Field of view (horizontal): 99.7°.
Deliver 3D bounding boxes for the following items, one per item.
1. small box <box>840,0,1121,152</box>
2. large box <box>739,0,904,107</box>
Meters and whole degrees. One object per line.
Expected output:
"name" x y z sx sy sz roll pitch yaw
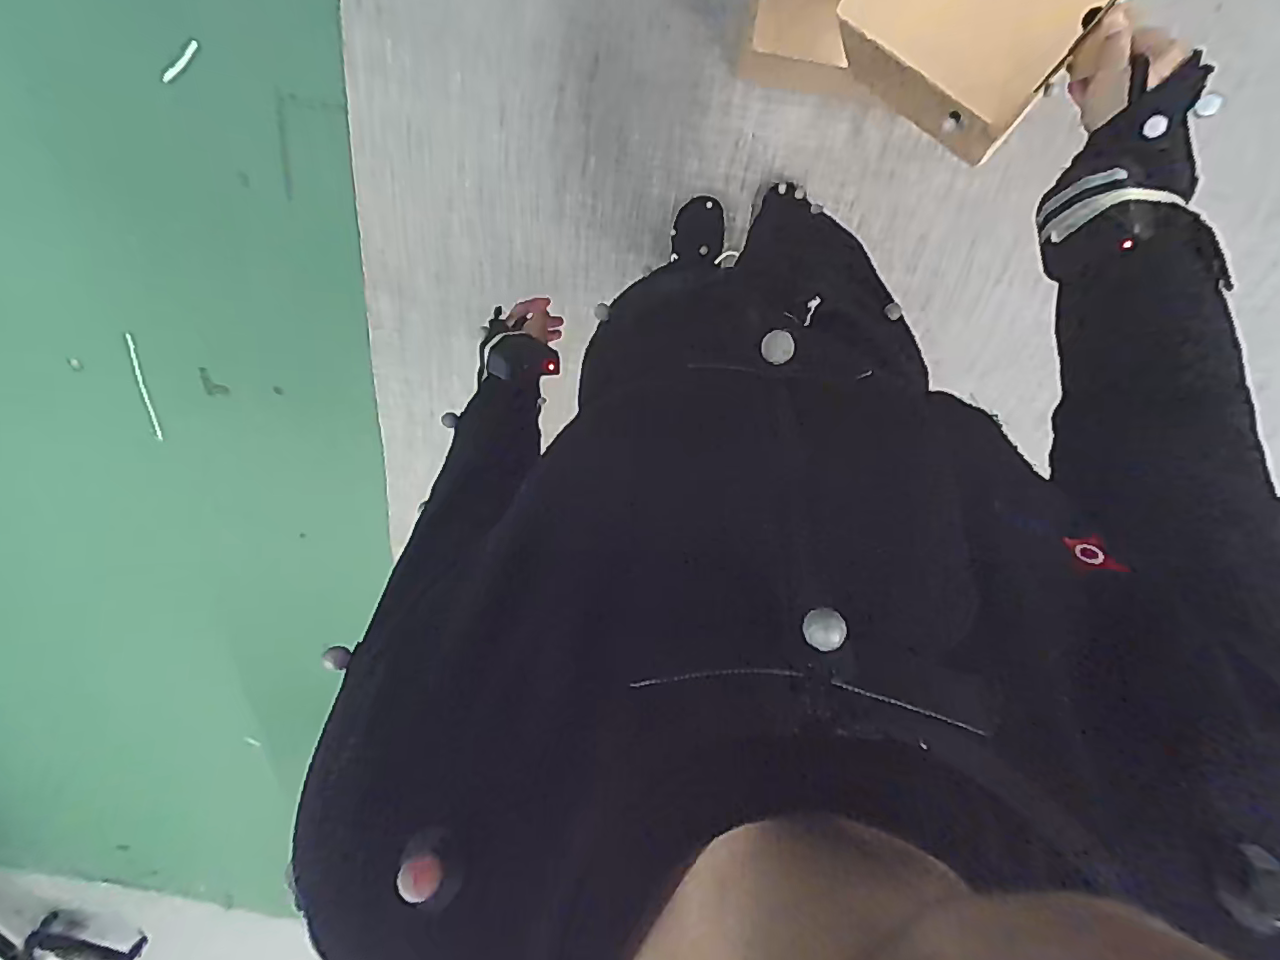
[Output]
"small box" 0.303 -0.420 0.470 0.179 0.176 0.168 41 121 6
"large box" 0.392 -0.789 0.831 0.408 0.320 0.320 9 121 -1
